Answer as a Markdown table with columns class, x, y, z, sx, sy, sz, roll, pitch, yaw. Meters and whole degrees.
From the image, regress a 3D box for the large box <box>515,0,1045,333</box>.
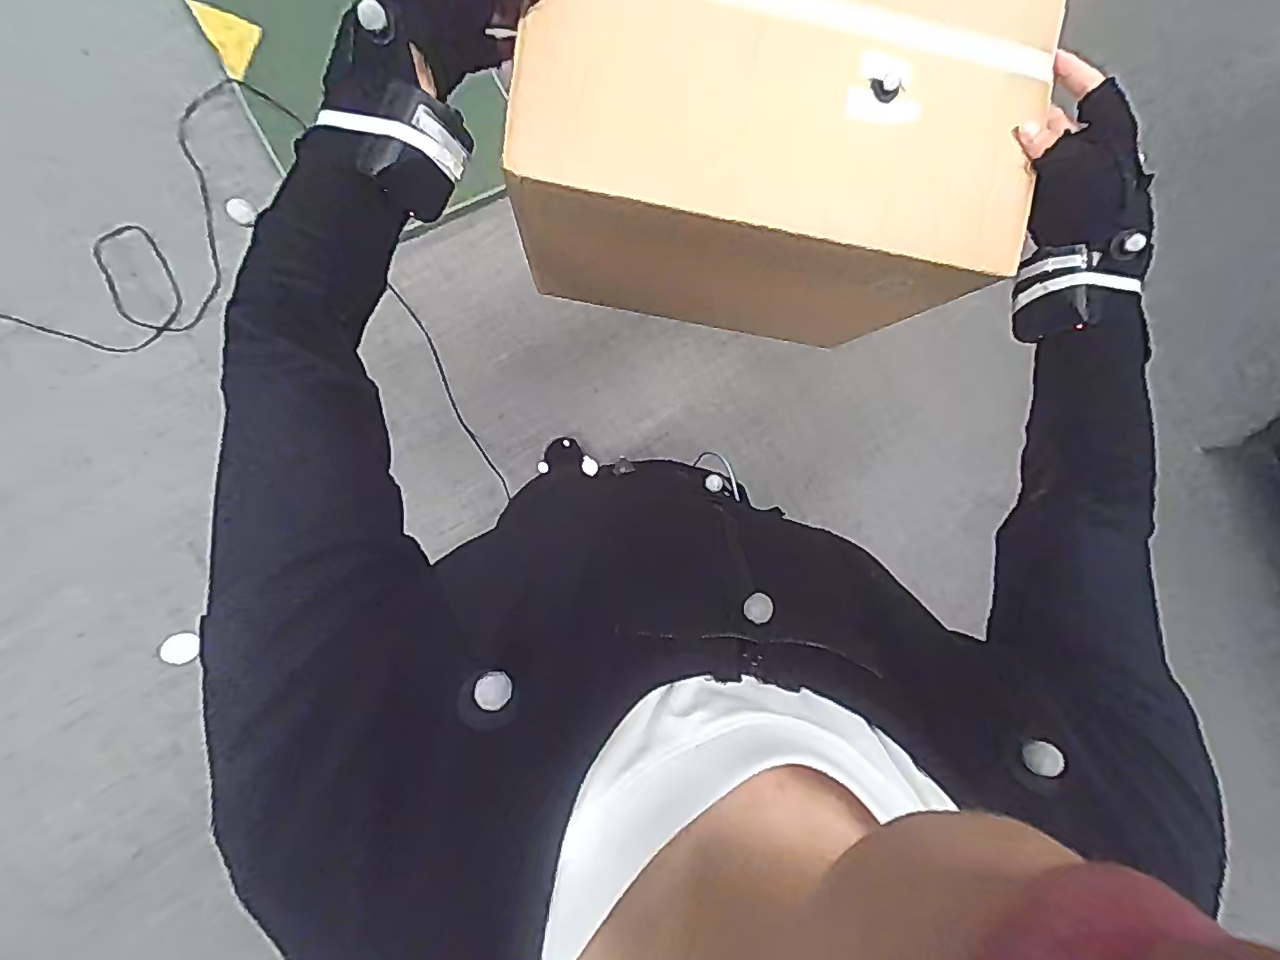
| class | x | y | z | sx | sy | sz | roll | pitch | yaw |
| --- | --- | --- | --- | --- | --- | --- | --- | --- | --- |
| large box | 0.100 | -0.363 | 0.558 | 0.408 | 0.320 | 0.320 | 7 | 93 | -8 |
